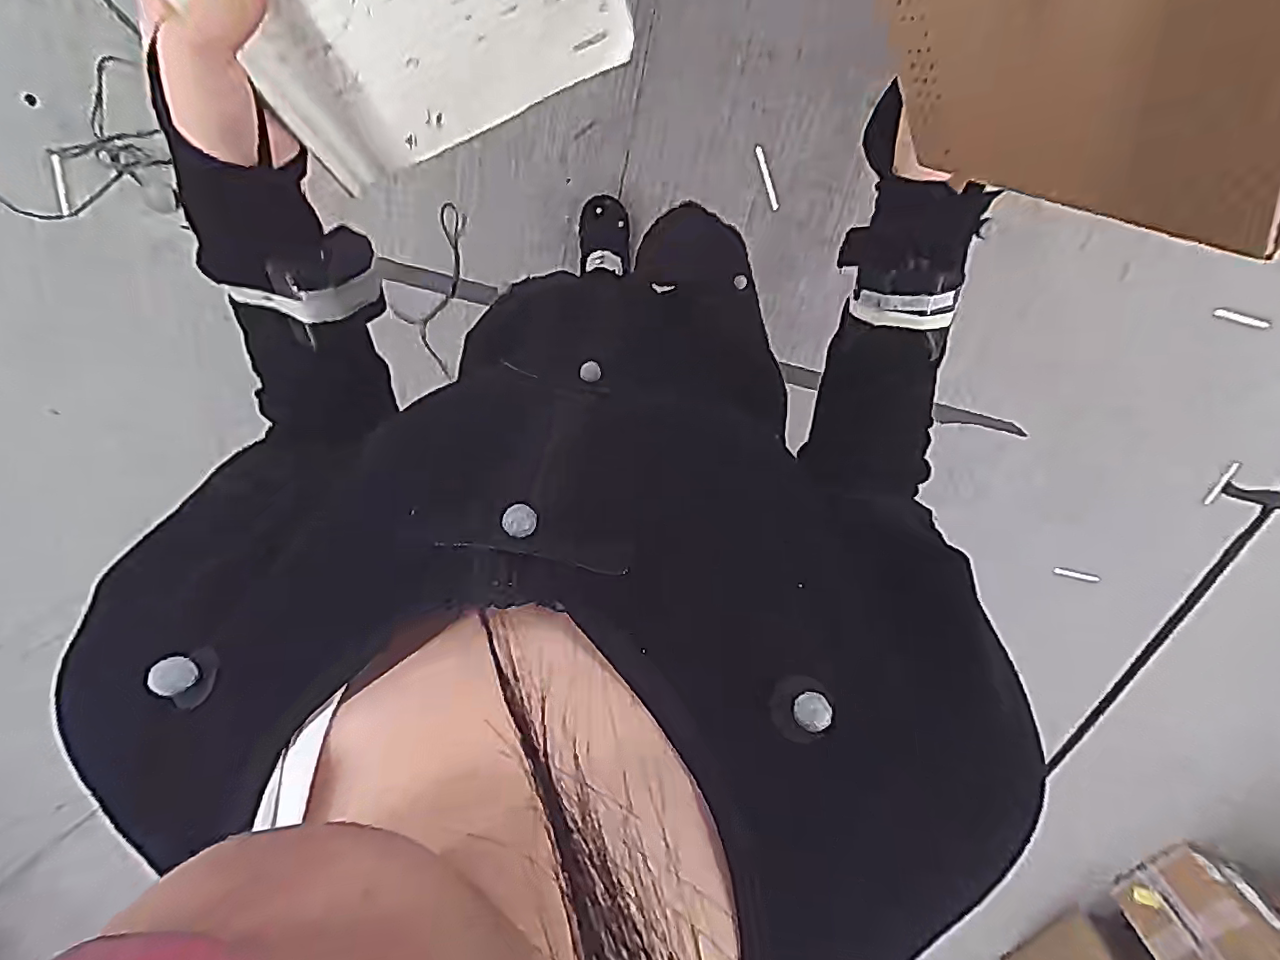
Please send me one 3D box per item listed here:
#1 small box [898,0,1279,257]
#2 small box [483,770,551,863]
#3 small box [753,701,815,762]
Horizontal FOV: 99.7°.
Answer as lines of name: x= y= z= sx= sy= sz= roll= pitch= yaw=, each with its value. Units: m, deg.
small box: x=0.190 y=-0.205 z=0.150 sx=0.168 sy=0.176 sz=0.179 roll=-35 pitch=130 yaw=10
small box: x=-0.367 y=1.013 z=1.635 sx=0.168 sy=0.176 sz=0.179 roll=10 pitch=116 yaw=-4
small box: x=0.512 y=0.922 z=1.922 sx=0.179 sy=0.176 sz=0.168 roll=-21 pitch=115 yaw=13
